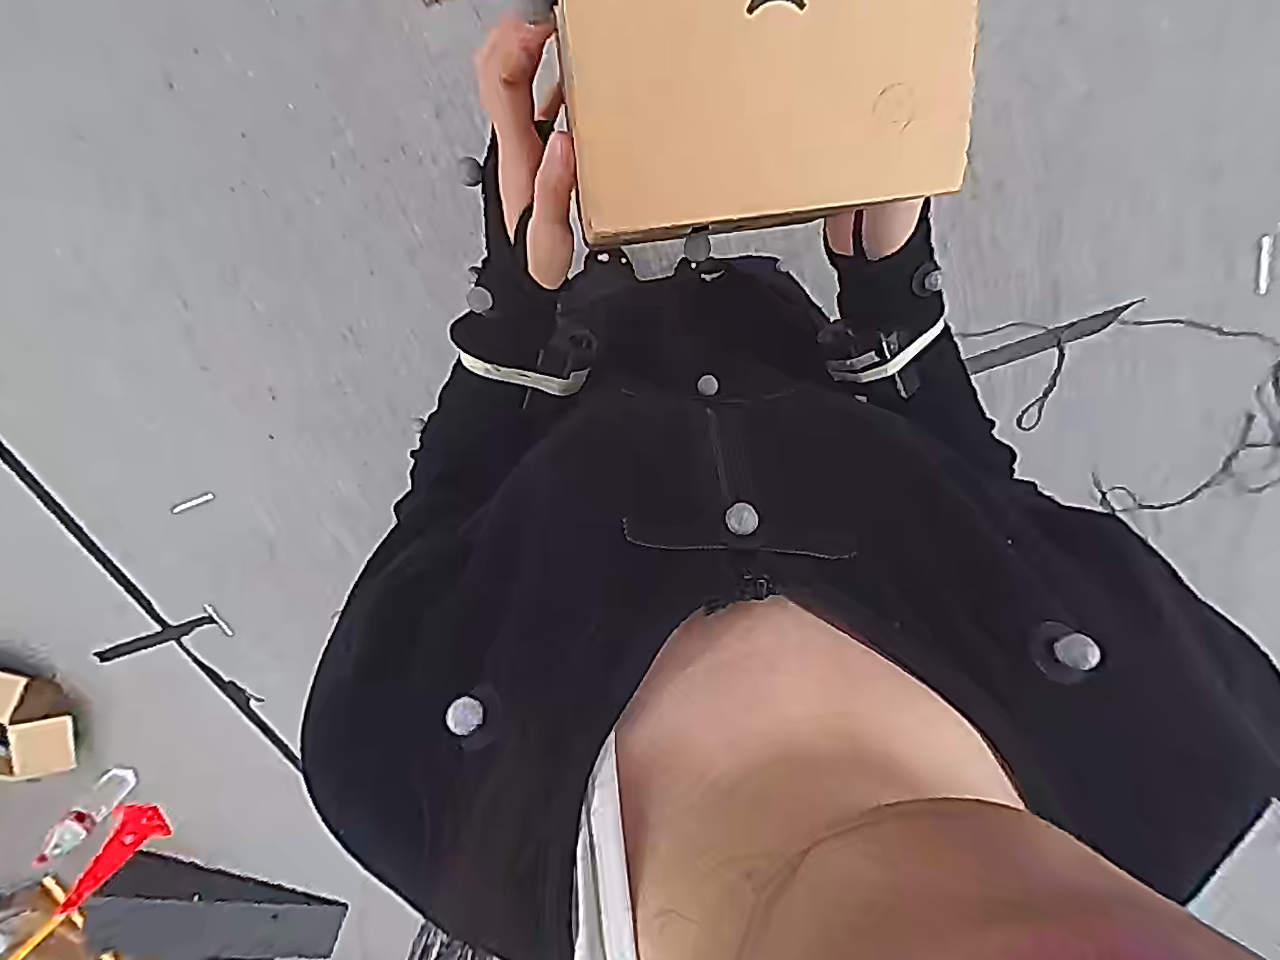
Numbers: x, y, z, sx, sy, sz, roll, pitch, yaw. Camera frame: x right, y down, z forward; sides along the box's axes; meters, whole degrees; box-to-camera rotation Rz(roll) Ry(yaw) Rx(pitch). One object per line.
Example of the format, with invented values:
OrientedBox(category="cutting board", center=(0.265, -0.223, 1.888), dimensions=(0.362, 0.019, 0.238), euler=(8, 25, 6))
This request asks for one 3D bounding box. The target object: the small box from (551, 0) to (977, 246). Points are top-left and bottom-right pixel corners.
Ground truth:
OrientedBox(category="small box", center=(0.041, -0.220, 0.275), dimensions=(0.168, 0.176, 0.179), euler=(-8, 111, -3))
